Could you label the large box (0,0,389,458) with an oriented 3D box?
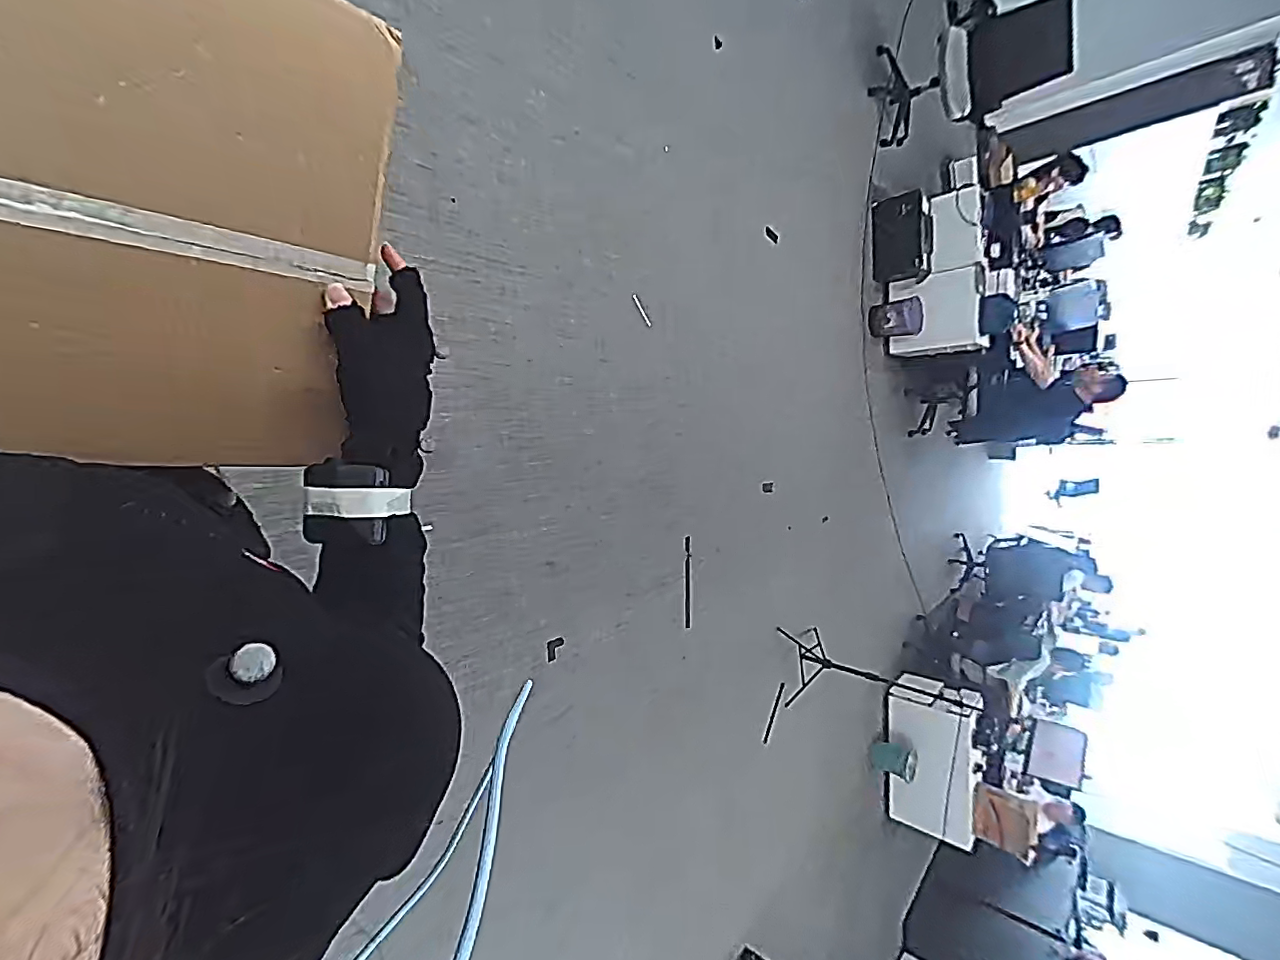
[{"bbox_3d":[-0.444,-0.217,0.371,0.408,0.320,0.320,-2,121,-42],"label":"large box"}]
